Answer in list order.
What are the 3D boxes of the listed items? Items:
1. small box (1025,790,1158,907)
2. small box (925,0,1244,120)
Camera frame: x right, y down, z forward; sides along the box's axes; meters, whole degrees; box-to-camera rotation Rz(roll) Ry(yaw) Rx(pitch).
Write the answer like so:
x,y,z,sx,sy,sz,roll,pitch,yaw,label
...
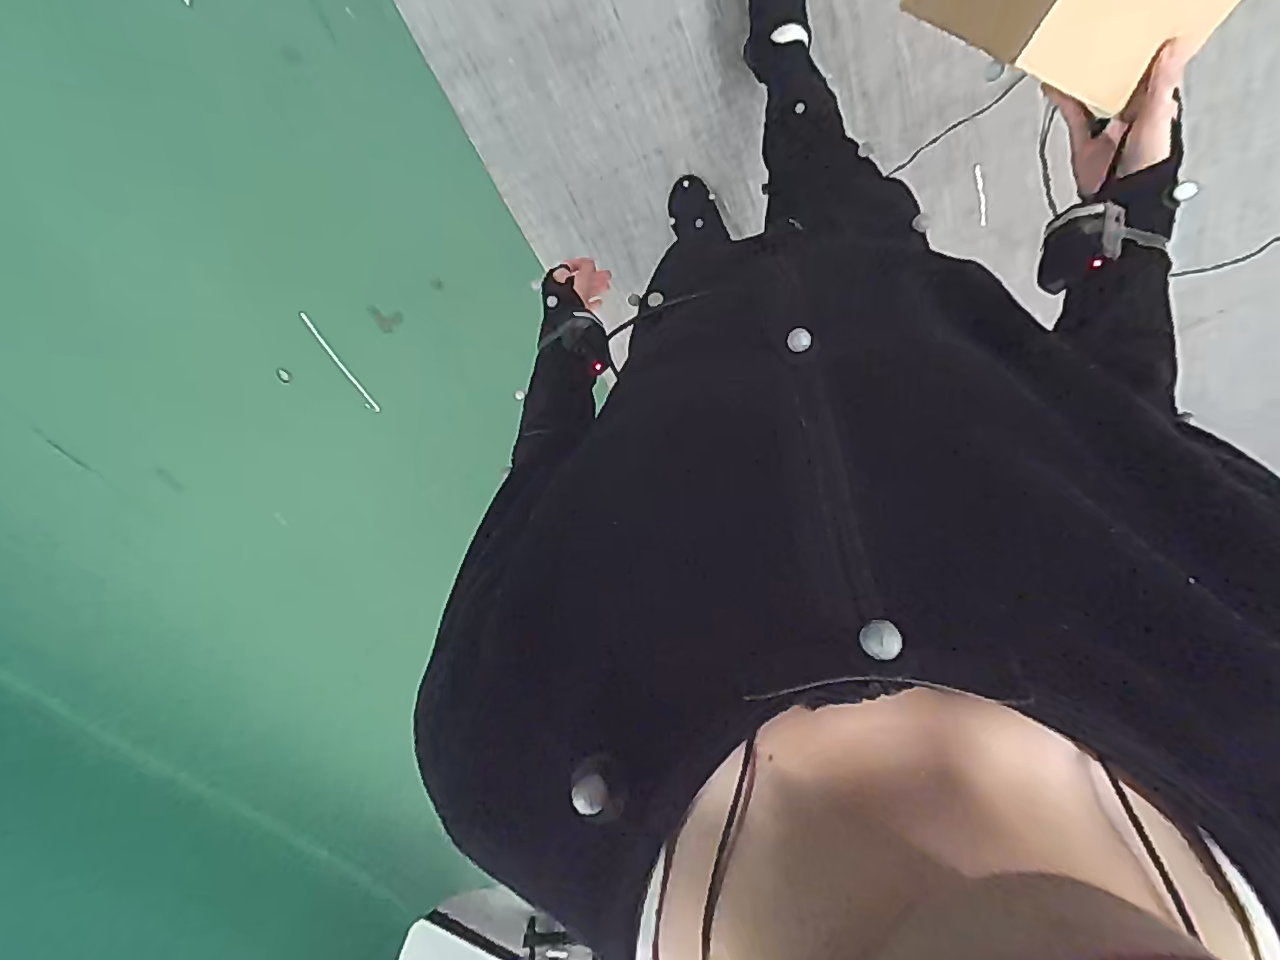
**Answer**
x,y,z,sx,sy,sz,roll,pitch,yaw,label
1.043,0.853,1.260,0.179,0.176,0.168,-20,119,15,small box
0.360,-0.428,0.421,0.168,0.176,0.179,1,139,-24,small box
